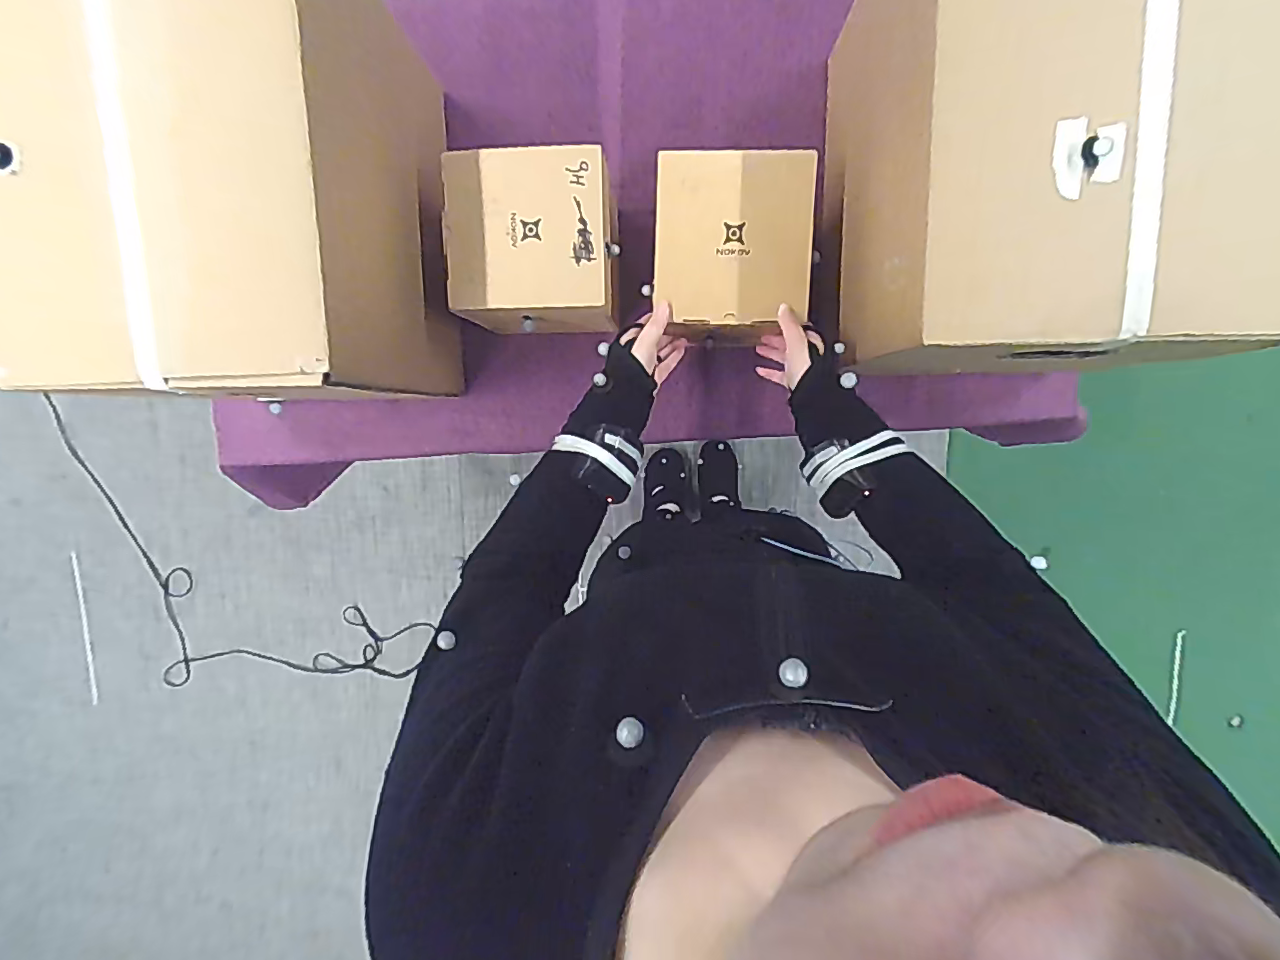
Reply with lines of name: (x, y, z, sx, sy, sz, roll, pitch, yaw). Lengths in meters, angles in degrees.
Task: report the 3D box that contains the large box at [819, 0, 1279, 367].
large box: (0.387, -0.332, 0.562, 0.320, 0.320, 0.408, 0, 98, 3)
